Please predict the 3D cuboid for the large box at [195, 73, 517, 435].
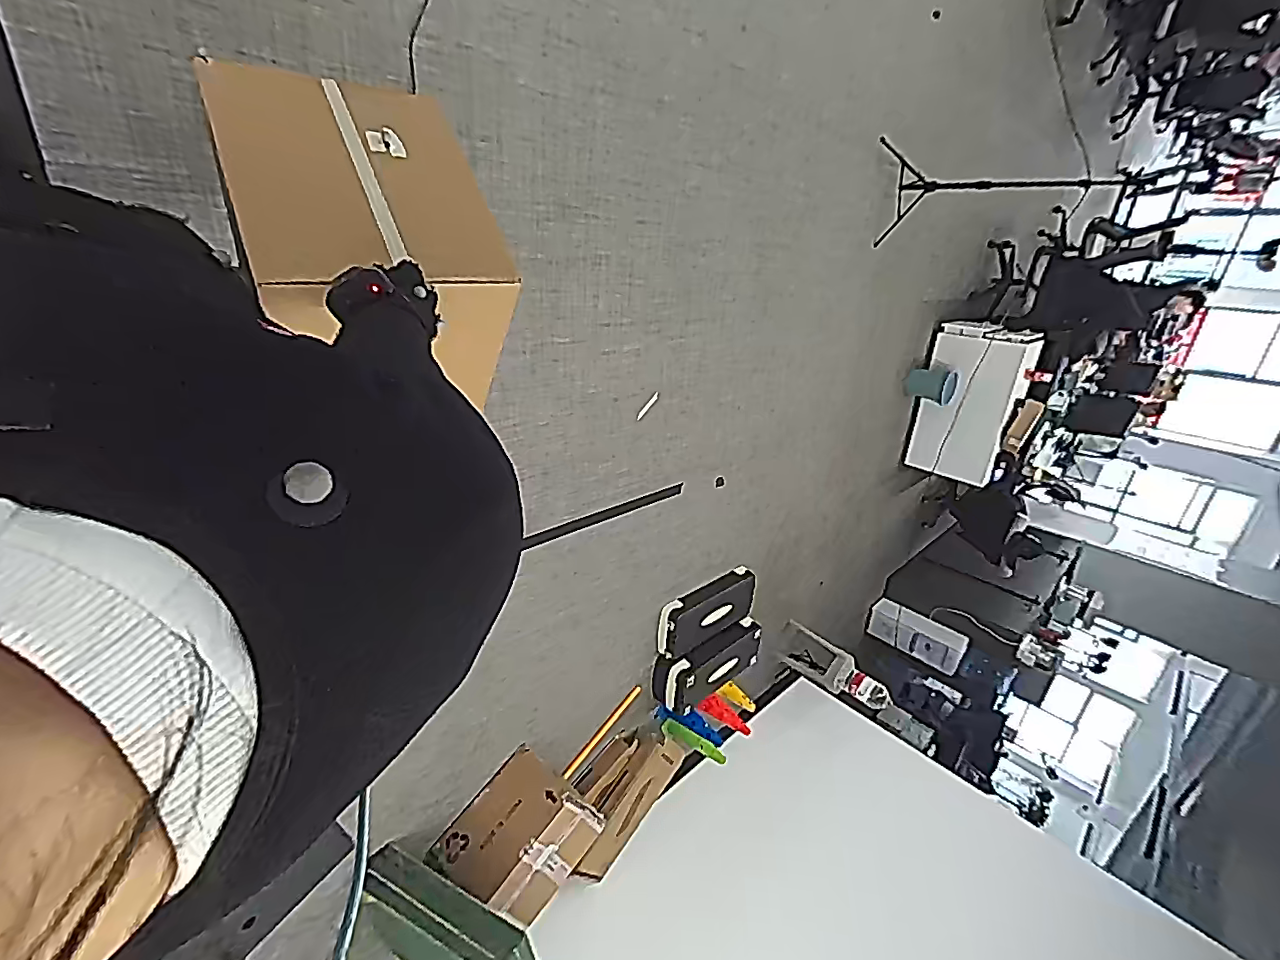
[{"bbox_3d":[-0.441,-0.336,0.857,0.320,0.408,0.320,-15,157,-35],"label":"large box"}]
